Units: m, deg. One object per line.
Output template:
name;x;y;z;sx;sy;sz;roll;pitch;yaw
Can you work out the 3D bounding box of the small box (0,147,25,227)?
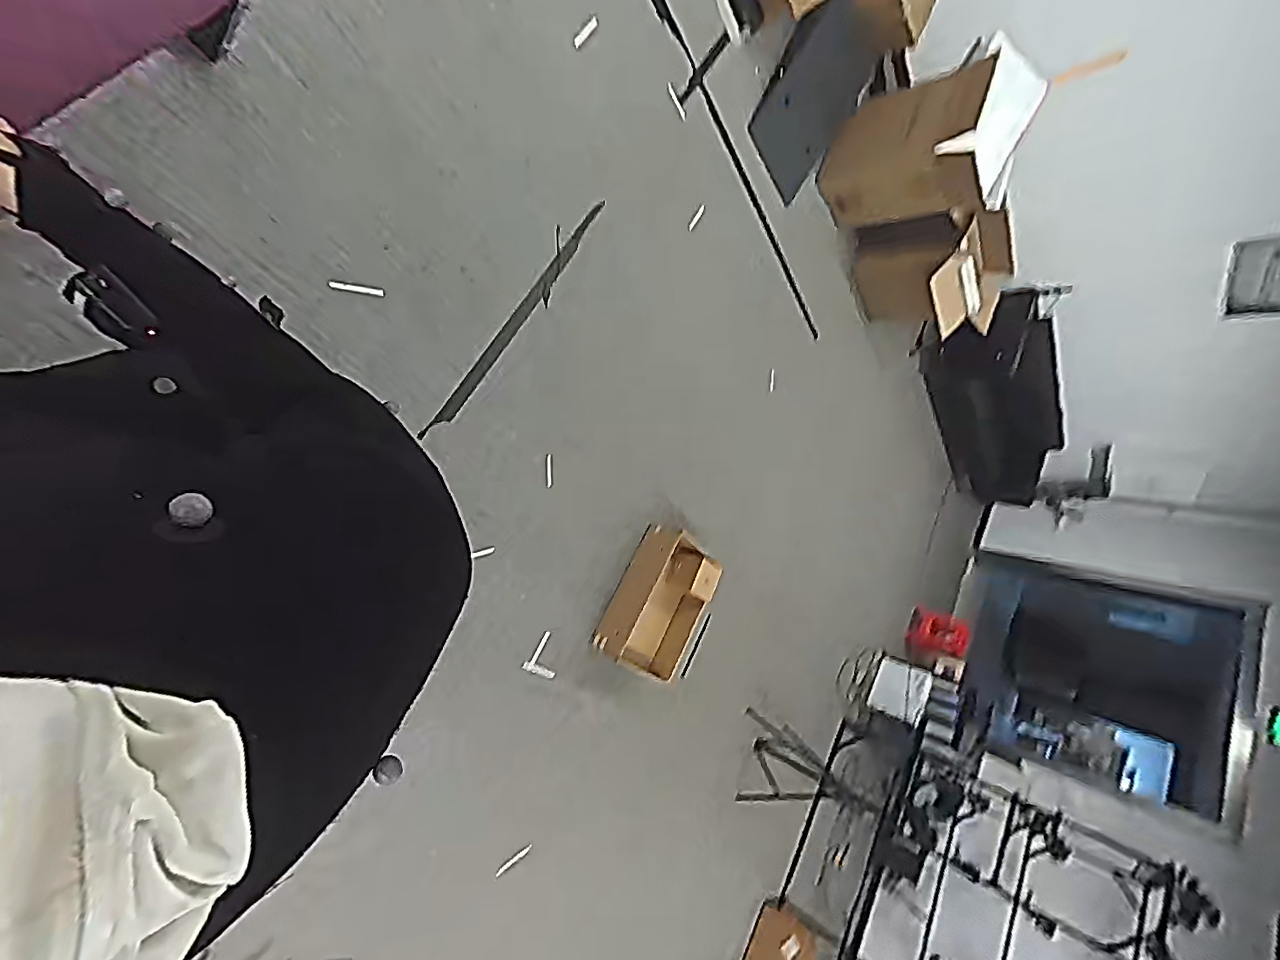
small box;-0.643;-0.280;0.417;0.179;0.176;0.168;-39;122;-31
